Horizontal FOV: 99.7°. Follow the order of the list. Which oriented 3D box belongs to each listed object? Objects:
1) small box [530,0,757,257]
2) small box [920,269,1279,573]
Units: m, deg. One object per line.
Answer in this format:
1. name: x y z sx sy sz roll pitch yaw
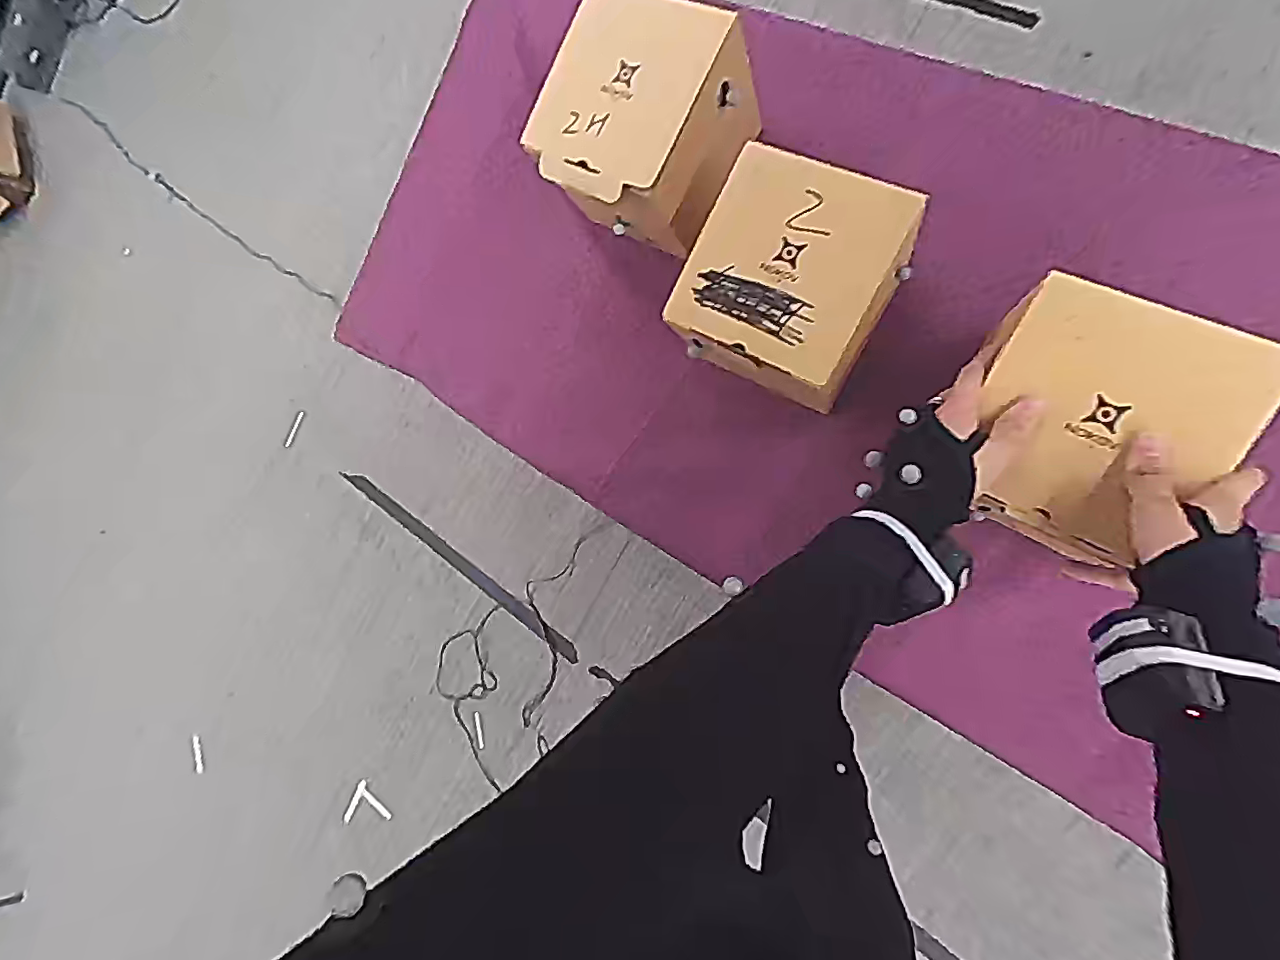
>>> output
1. small box: 0.017 -0.385 0.601 0.168 0.176 0.179 31 100 18
2. small box: 0.369 -0.046 0.471 0.168 0.176 0.179 30 100 19
